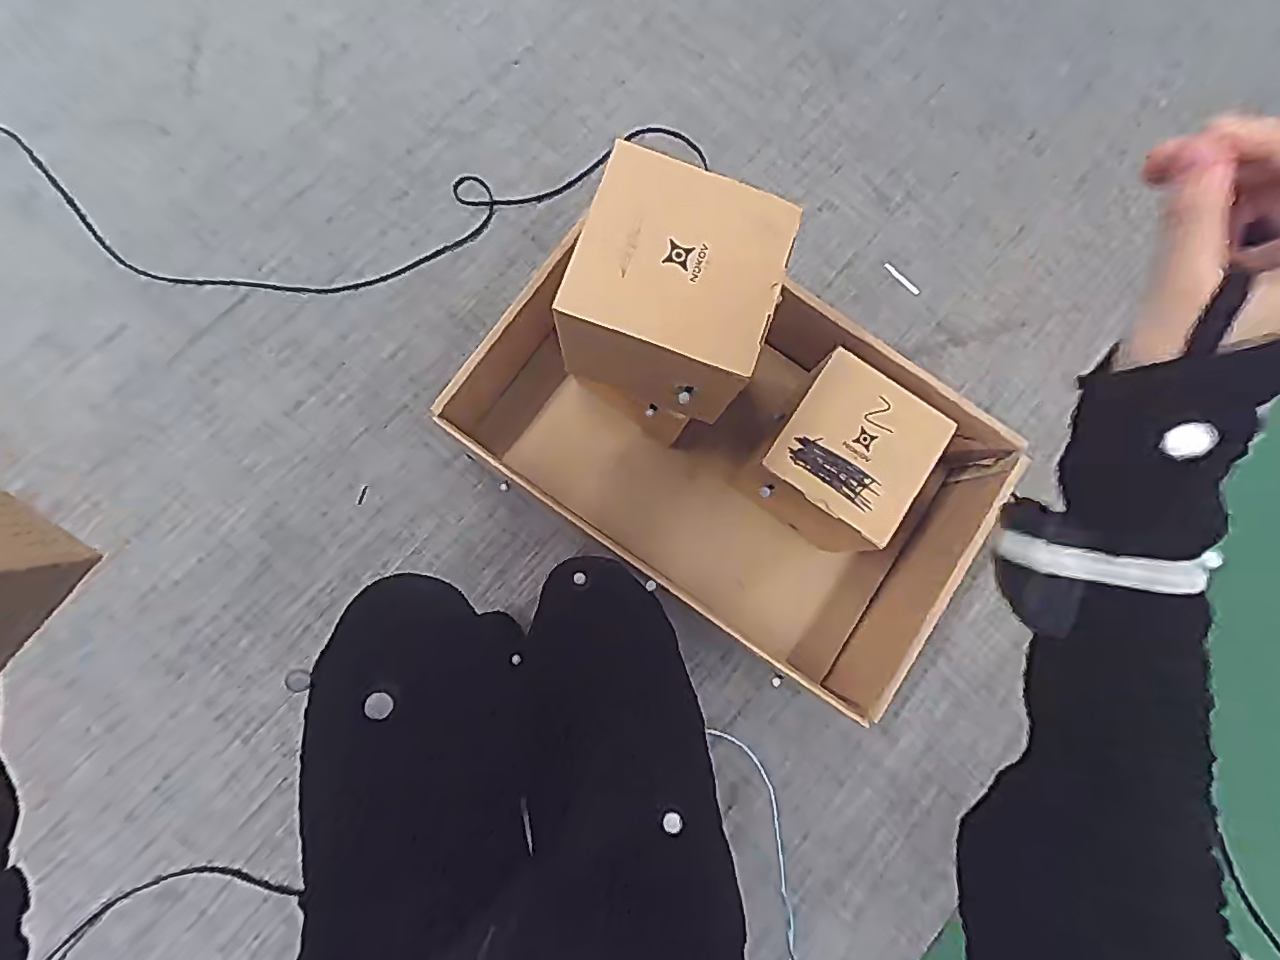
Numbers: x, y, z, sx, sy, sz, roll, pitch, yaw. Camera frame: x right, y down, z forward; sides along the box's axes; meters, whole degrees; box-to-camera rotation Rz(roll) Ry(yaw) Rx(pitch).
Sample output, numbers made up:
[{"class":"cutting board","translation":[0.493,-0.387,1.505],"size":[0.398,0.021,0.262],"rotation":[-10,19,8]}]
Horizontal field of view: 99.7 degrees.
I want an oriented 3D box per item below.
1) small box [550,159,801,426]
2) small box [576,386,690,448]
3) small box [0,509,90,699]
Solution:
[{"class":"small box","translation":[0.028,-0.164,0.537],"size":[0.179,0.176,0.168],"rotation":[20,82,0]},{"class":"small box","translation":[0.021,-0.160,0.700],"size":[0.179,0.176,0.168],"rotation":[36,82,1]},{"class":"small box","translation":[-0.359,0.056,0.162],"size":[0.179,0.176,0.168],"rotation":[39,84,-8]}]
